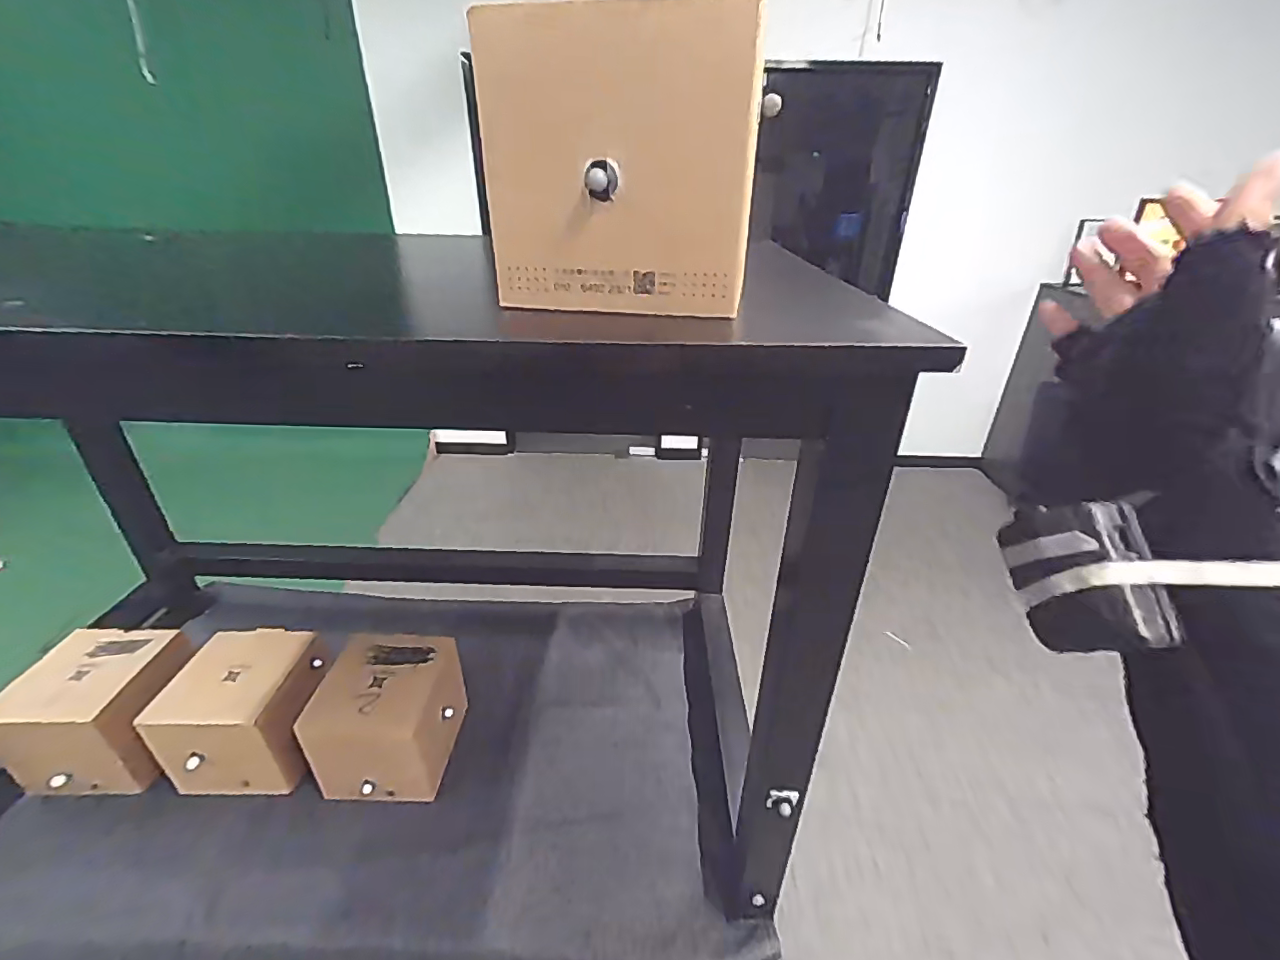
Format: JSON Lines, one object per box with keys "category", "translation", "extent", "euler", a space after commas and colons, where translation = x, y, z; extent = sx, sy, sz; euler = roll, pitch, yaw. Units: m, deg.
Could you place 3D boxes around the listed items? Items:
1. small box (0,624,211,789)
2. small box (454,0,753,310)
{"category": "small box", "translation": [-0.822, 0.349, 0.845], "extent": [0.168, 0.176, 0.179], "euler": [0, 29, -1]}
{"category": "small box", "translation": [-0.009, -0.228, 0.400], "extent": [0.168, 0.176, 0.179], "euler": [6, 29, 10]}
